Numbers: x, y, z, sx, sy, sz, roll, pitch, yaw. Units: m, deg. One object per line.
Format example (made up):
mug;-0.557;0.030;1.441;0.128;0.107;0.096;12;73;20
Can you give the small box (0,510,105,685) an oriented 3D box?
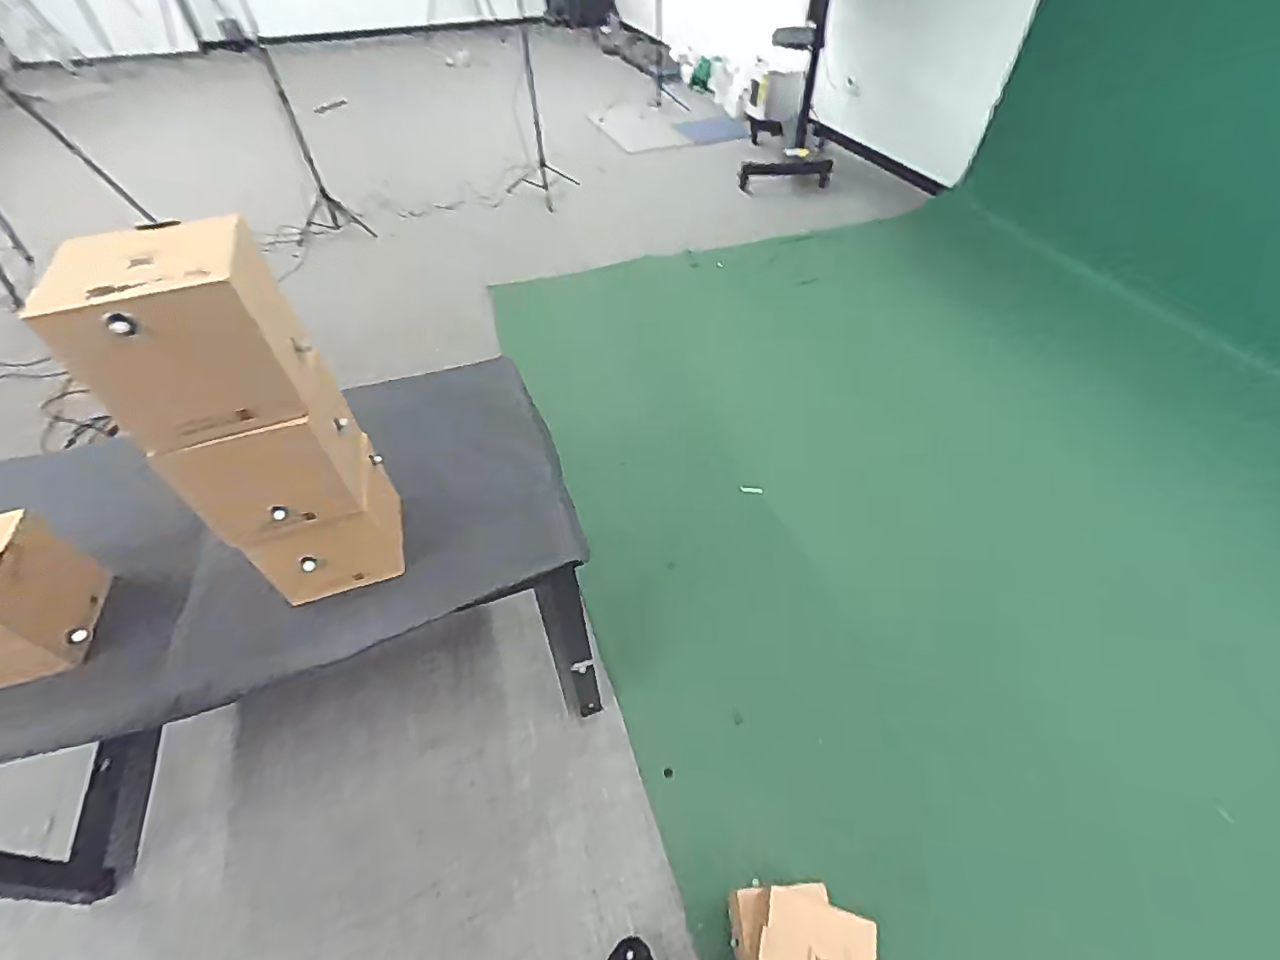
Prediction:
small box;-0.900;0.172;0.734;0.179;0.176;0.168;-15;49;-12

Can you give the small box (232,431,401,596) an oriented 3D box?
small box;-0.480;0.058;0.831;0.168;0.176;0.179;-16;49;-12

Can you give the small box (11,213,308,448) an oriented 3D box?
small box;-0.488;-0.164;0.588;0.168;0.176;0.179;-19;49;-14

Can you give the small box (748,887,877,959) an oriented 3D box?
small box;0.278;0.816;0.904;0.179;0.176;0.168;13;51;11
